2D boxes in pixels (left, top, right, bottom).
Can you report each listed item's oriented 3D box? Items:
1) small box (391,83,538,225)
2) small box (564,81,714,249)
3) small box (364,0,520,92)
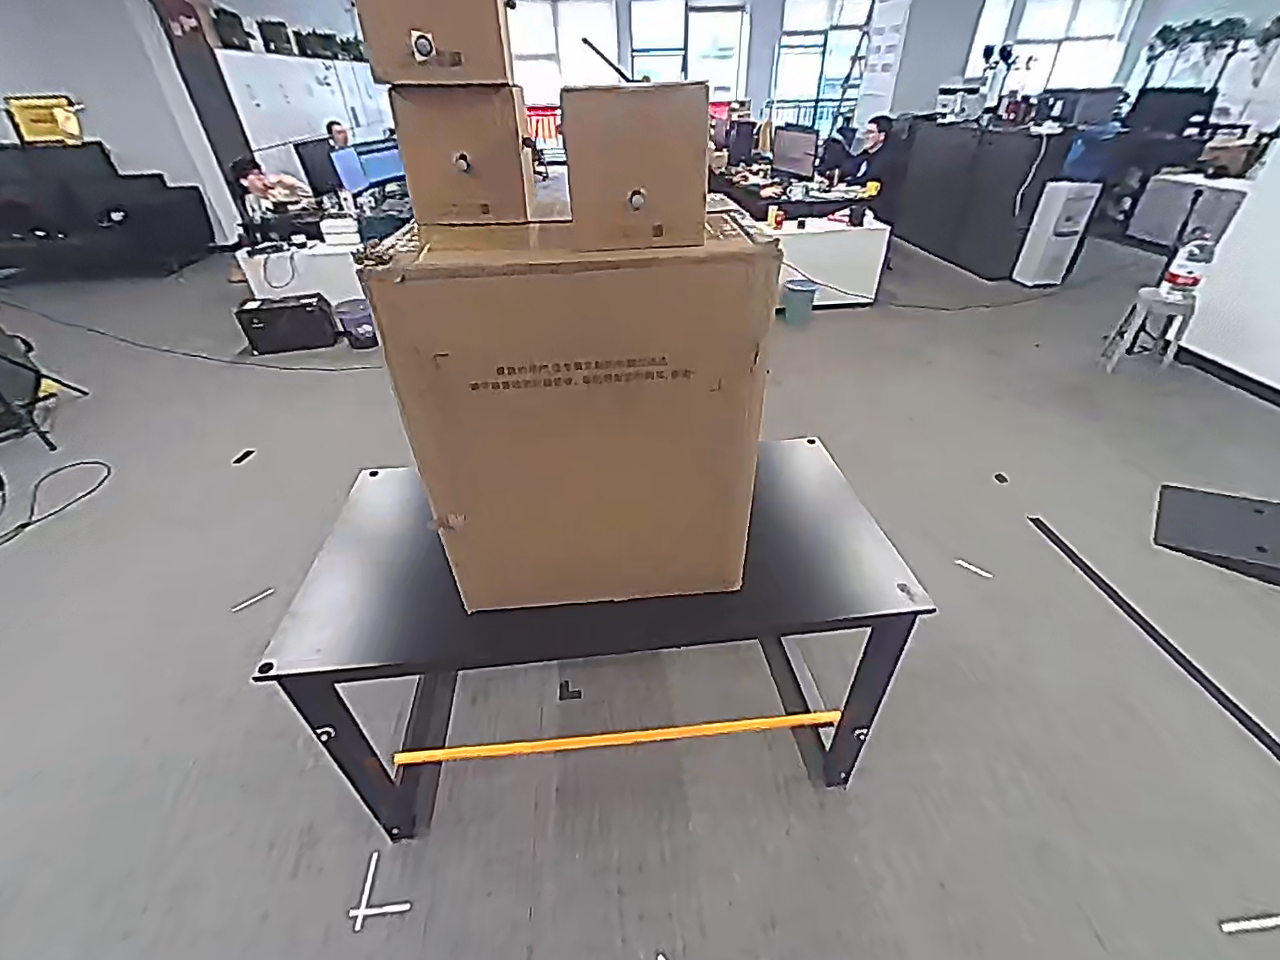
[{"bbox_3d":[-0.248,-0.489,0.814,0.168,0.176,0.179,-3,36,-4],"label":"small box"},{"bbox_3d":[-0.002,-0.406,0.696,0.168,0.176,0.179,-3,37,-1],"label":"small box"},{"bbox_3d":[-0.250,-0.601,0.690,0.168,0.176,0.179,-6,37,-6],"label":"small box"}]
